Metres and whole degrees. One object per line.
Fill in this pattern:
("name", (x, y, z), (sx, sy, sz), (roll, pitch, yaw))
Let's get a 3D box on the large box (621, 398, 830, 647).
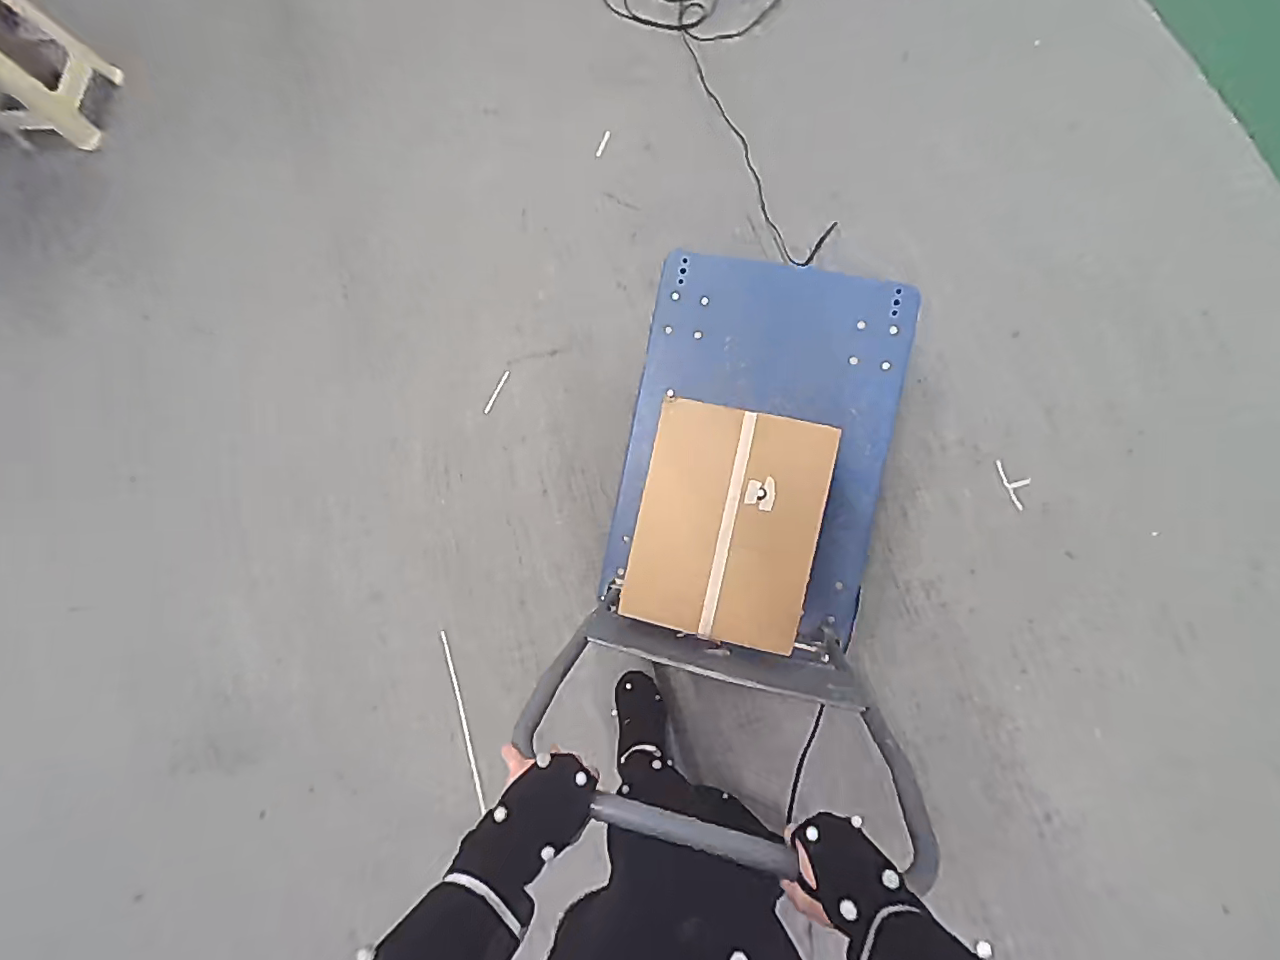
("large box", (0.171, 0.078, 1.119), (0.320, 0.320, 0.408), (13, 90, 8))
